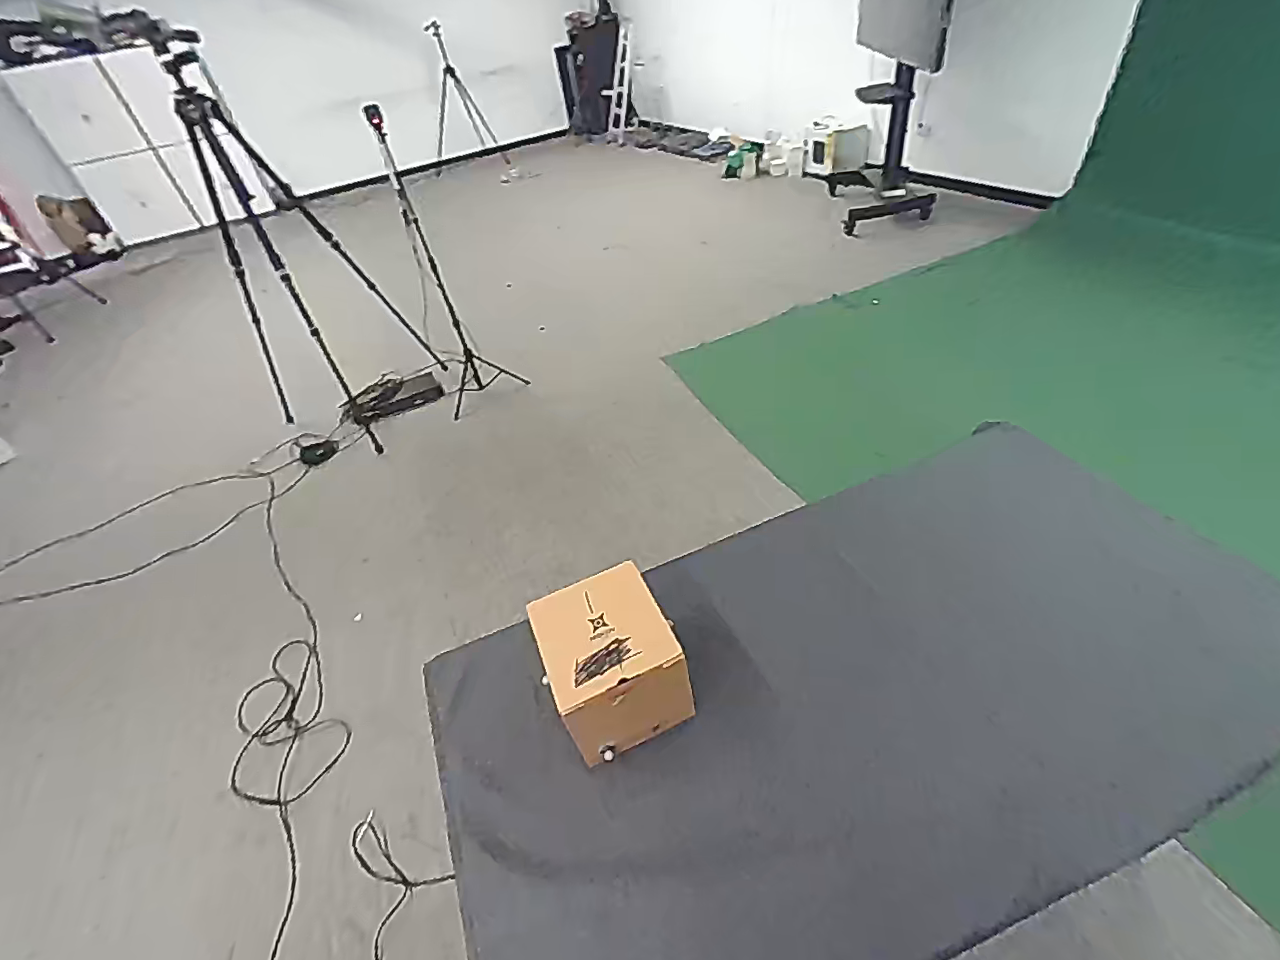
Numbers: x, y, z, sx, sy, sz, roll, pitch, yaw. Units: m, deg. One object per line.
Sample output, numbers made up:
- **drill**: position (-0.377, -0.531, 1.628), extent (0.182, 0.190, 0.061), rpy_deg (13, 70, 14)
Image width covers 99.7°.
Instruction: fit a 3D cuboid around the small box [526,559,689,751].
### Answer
- **small box**: position (-0.042, 0.251, 0.762), extent (0.168, 0.176, 0.179), rpy_deg (-22, 43, -12)
